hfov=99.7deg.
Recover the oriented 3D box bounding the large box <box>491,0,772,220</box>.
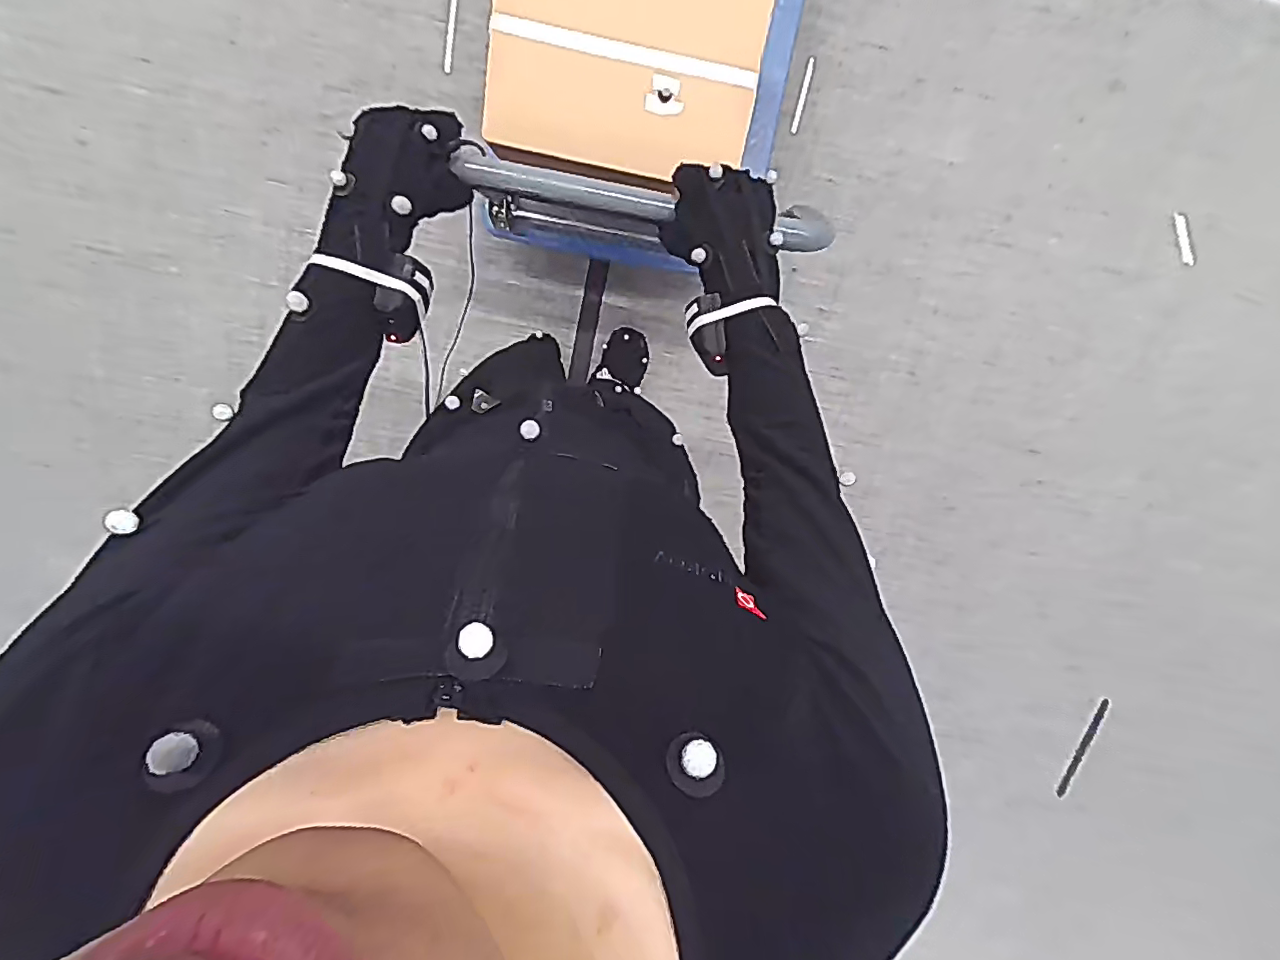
[{"bbox_3d":[-0.024,-0.689,0.964,0.408,0.320,0.320,9,106,-5],"label":"large box"}]
